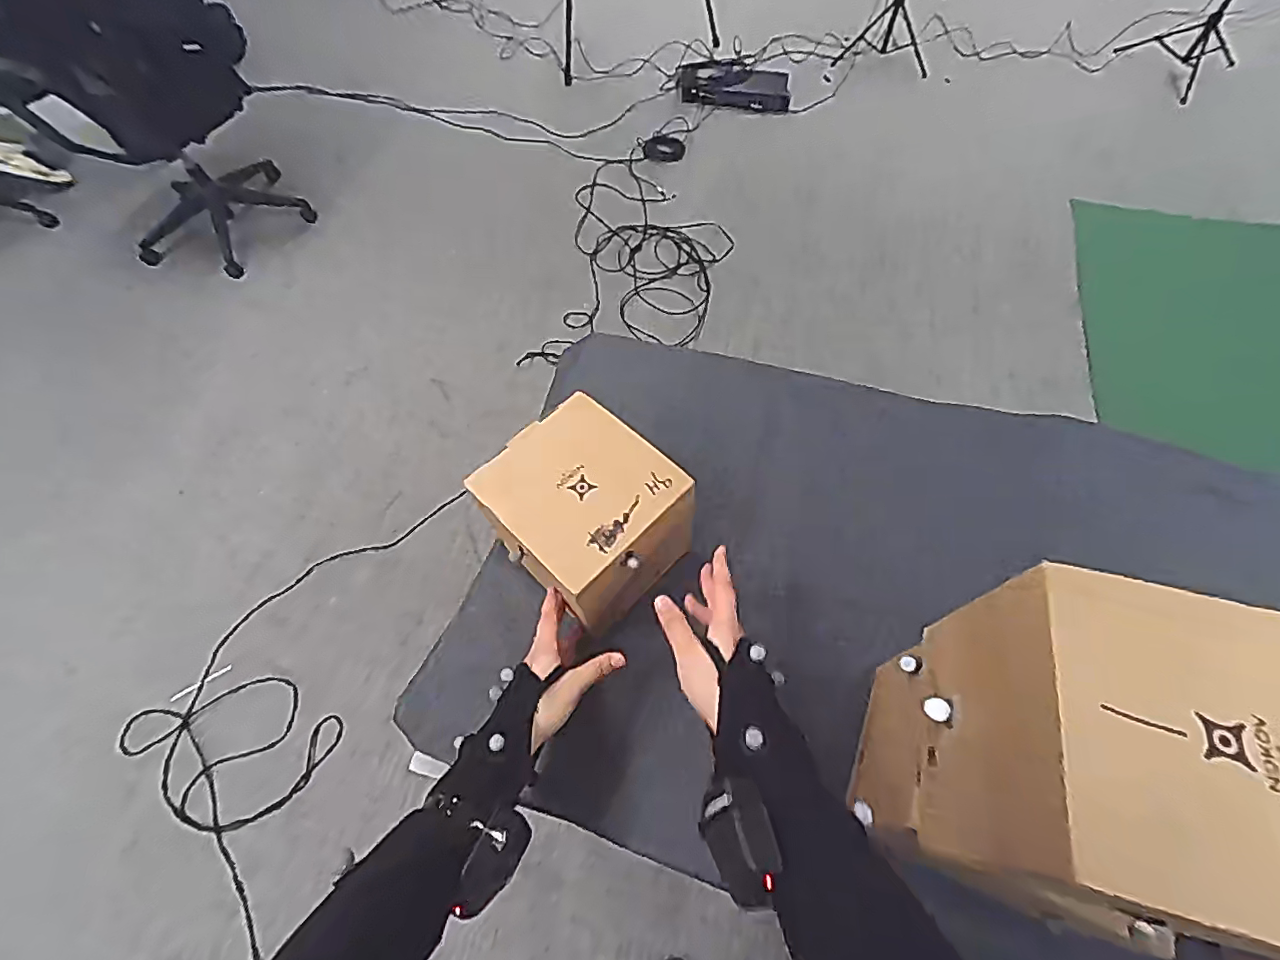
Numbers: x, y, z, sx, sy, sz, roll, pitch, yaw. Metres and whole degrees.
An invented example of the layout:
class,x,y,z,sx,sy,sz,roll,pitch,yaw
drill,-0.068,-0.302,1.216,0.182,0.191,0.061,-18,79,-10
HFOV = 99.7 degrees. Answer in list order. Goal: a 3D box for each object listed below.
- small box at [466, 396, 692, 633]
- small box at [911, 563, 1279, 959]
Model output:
class,x,y,z,sx,sy,sz,roll,pitch,yaw
small box,-0.060,0.045,0.616,0.179,0.176,0.168,39,69,24
small box,0.299,0.176,0.342,0.179,0.176,0.168,13,61,10
